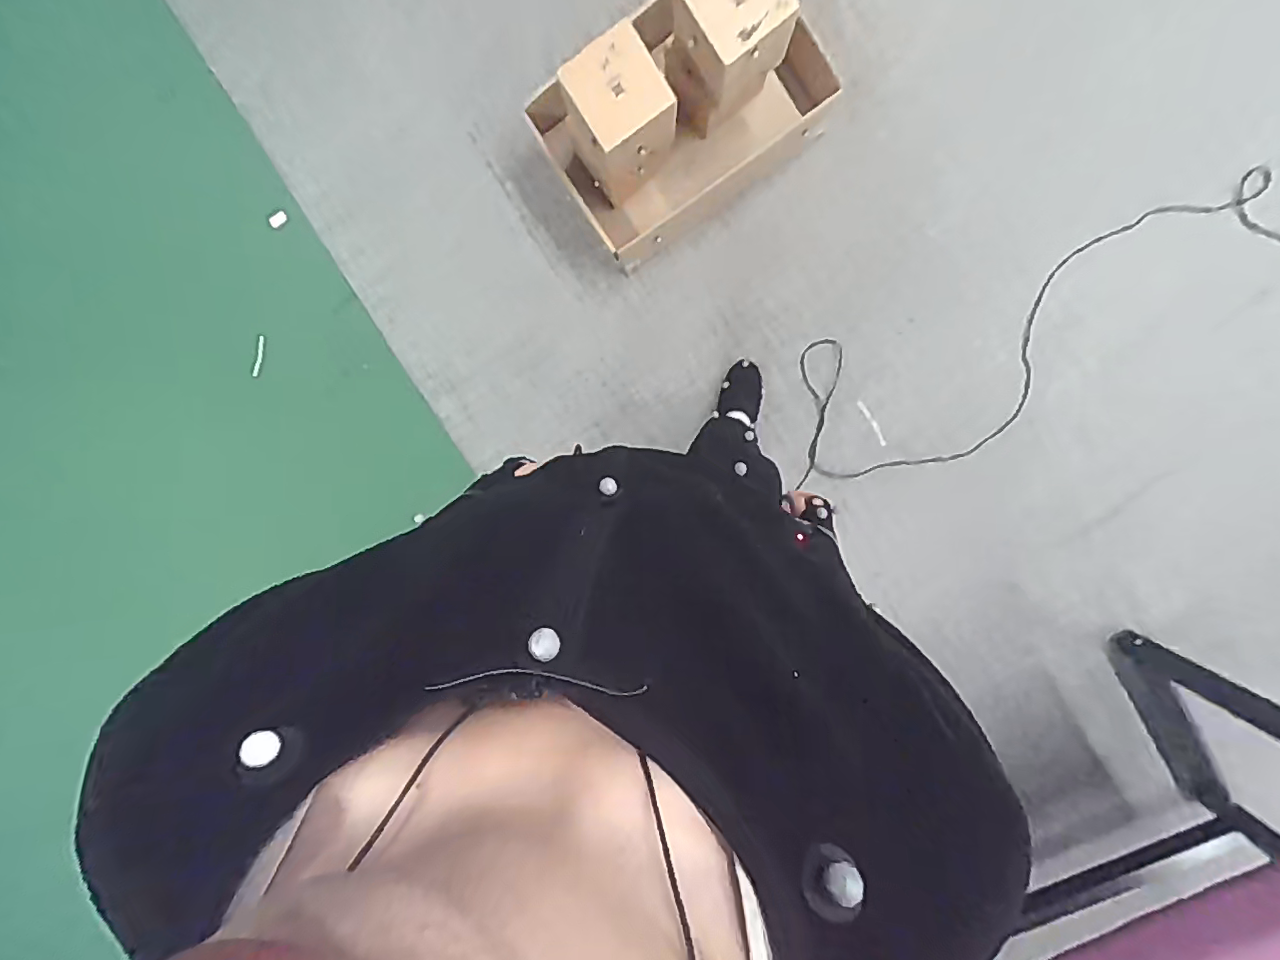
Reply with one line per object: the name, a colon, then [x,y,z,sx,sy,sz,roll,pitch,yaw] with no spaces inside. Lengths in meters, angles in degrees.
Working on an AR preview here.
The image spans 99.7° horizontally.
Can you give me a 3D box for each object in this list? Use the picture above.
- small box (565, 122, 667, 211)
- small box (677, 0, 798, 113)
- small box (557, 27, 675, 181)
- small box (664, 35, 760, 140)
small box: [-0.047,-0.773,1.268,0.179,0.176,0.168,-37,96,6]
small box: [0.182,-0.888,1.072,0.168,0.176,0.179,-34,95,8]
small box: [-0.042,-0.747,1.106,0.168,0.176,0.179,-33,96,6]
small box: [0.172,-0.928,1.231,0.179,0.176,0.168,-38,96,7]
